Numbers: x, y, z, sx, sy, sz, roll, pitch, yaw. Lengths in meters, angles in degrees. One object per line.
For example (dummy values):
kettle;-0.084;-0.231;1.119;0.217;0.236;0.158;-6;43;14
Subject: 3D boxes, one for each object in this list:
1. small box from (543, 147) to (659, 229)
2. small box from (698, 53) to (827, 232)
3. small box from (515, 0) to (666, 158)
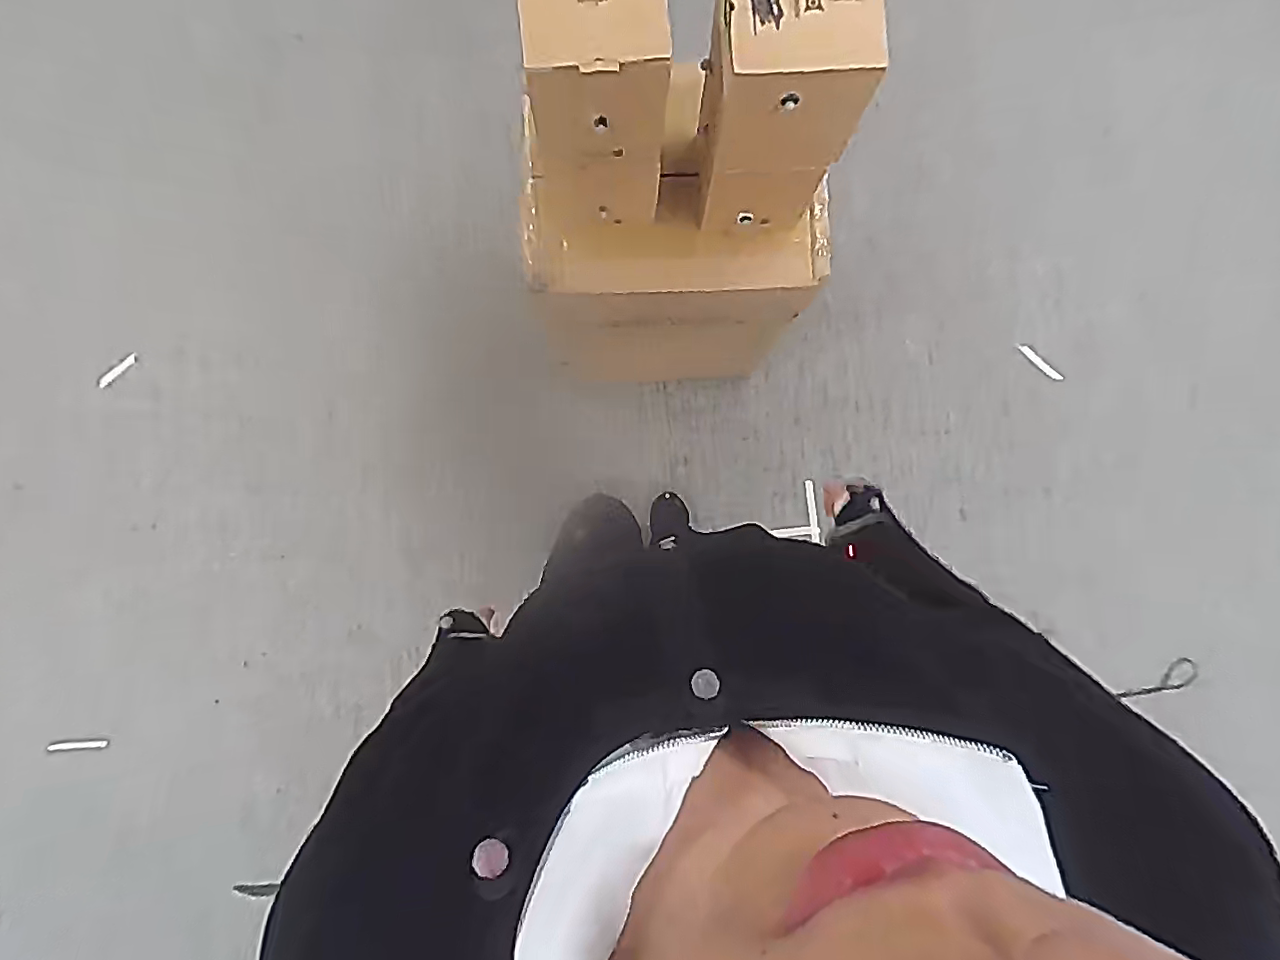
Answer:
small box;-0.062;-0.521;0.844;0.168;0.176;0.179;-4;87;-2
small box;0.182;-0.518;0.850;0.168;0.176;0.179;-3;88;1
small box;-0.058;-0.534;0.680;0.168;0.176;0.179;-5;87;-2
